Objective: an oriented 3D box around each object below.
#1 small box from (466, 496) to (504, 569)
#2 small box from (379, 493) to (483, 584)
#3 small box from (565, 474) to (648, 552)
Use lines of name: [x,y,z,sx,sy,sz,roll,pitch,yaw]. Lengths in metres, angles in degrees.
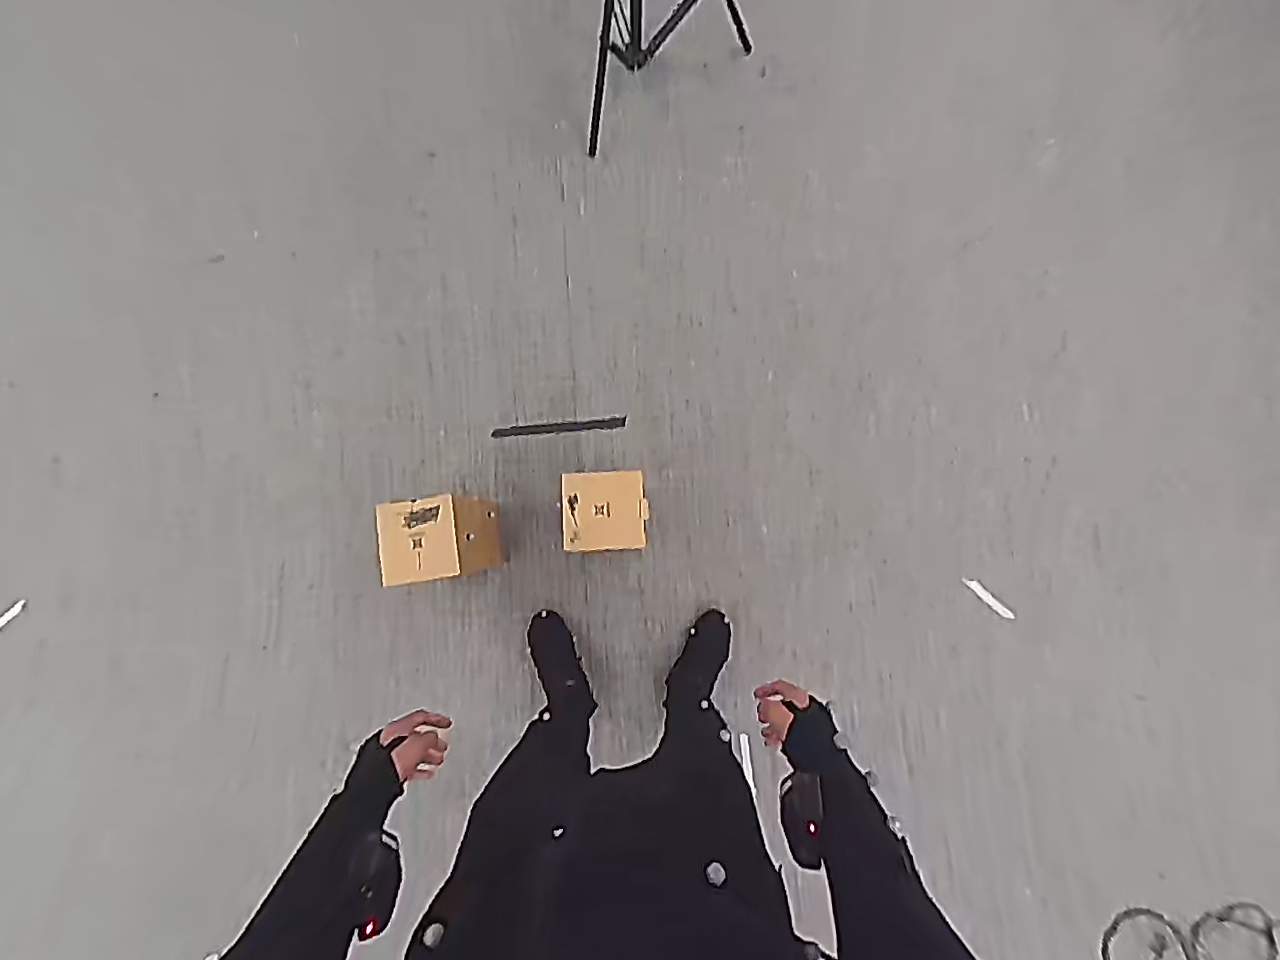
small box: [-0.455,0.146,1.378,0.168,0.176,0.179,-10,84,-1]
small box: [-0.462,0.133,1.214,0.168,0.176,0.179,-8,84,0]
small box: [-0.076,0.077,1.222,0.179,0.176,0.168,-1,83,-2]
